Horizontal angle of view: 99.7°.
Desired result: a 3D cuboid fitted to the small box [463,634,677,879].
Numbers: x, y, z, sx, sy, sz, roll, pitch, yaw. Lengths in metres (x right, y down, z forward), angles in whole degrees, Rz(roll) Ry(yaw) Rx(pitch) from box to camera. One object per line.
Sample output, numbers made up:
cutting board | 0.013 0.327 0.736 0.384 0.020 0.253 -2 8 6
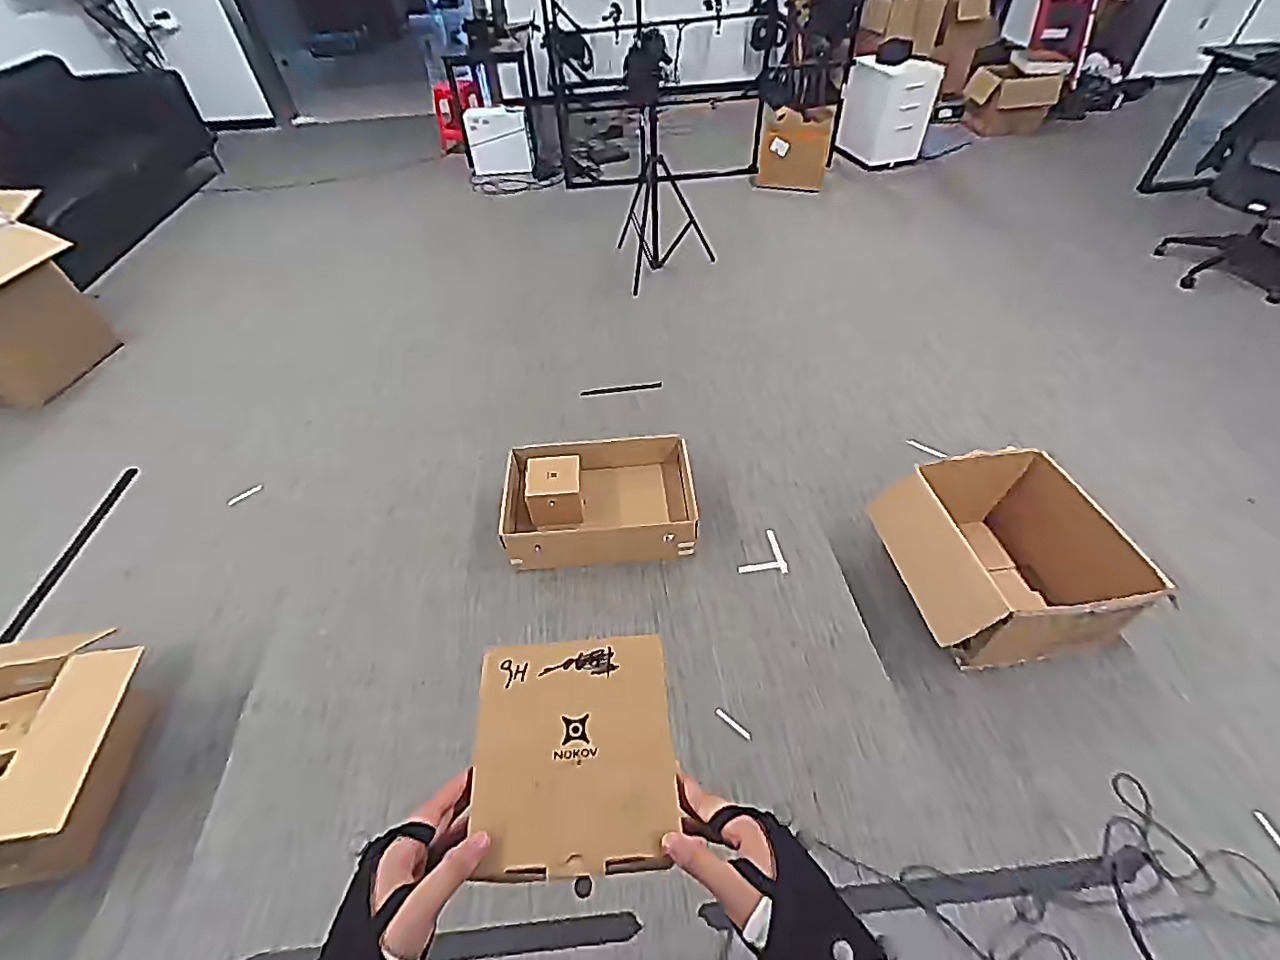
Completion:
small box | -0.057 0.266 0.517 0.168 0.176 0.179 -3 53 -4

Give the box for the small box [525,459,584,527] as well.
small box | -0.286 0.048 1.837 0.179 0.176 0.168 -4 50 -3
